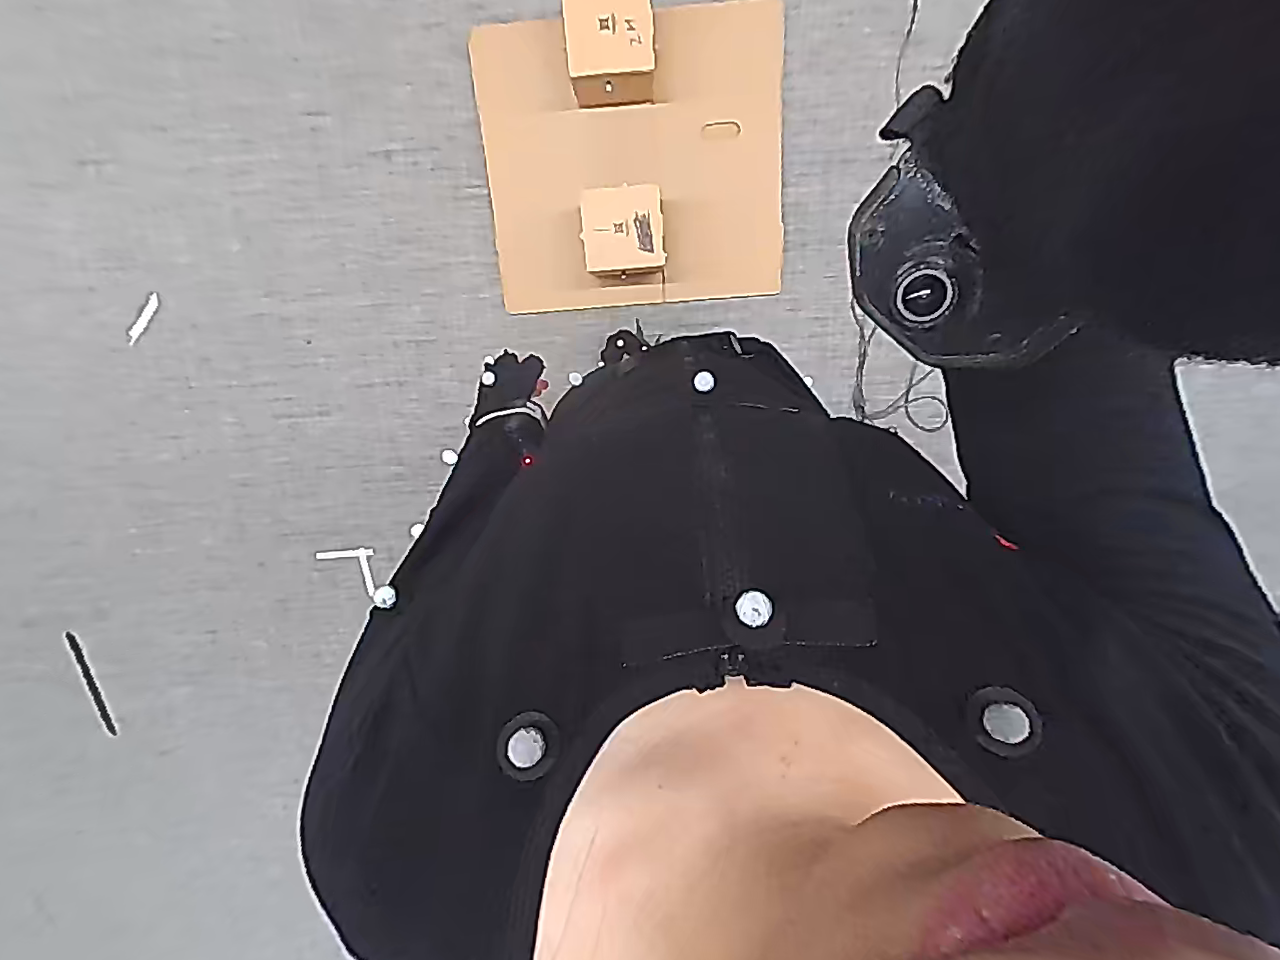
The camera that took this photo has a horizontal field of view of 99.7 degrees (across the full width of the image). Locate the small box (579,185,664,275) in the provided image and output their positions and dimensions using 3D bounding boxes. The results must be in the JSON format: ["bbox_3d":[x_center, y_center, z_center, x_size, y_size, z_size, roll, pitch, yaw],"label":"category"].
[{"bbox_3d":[-0.040,-0.571,1.249,0.179,0.176,0.168,-4,107,2],"label":"small box"}]

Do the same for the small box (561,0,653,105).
[{"bbox_3d":[-0.064,-0.915,1.139,0.179,0.176,0.168,-4,108,1],"label":"small box"}]
